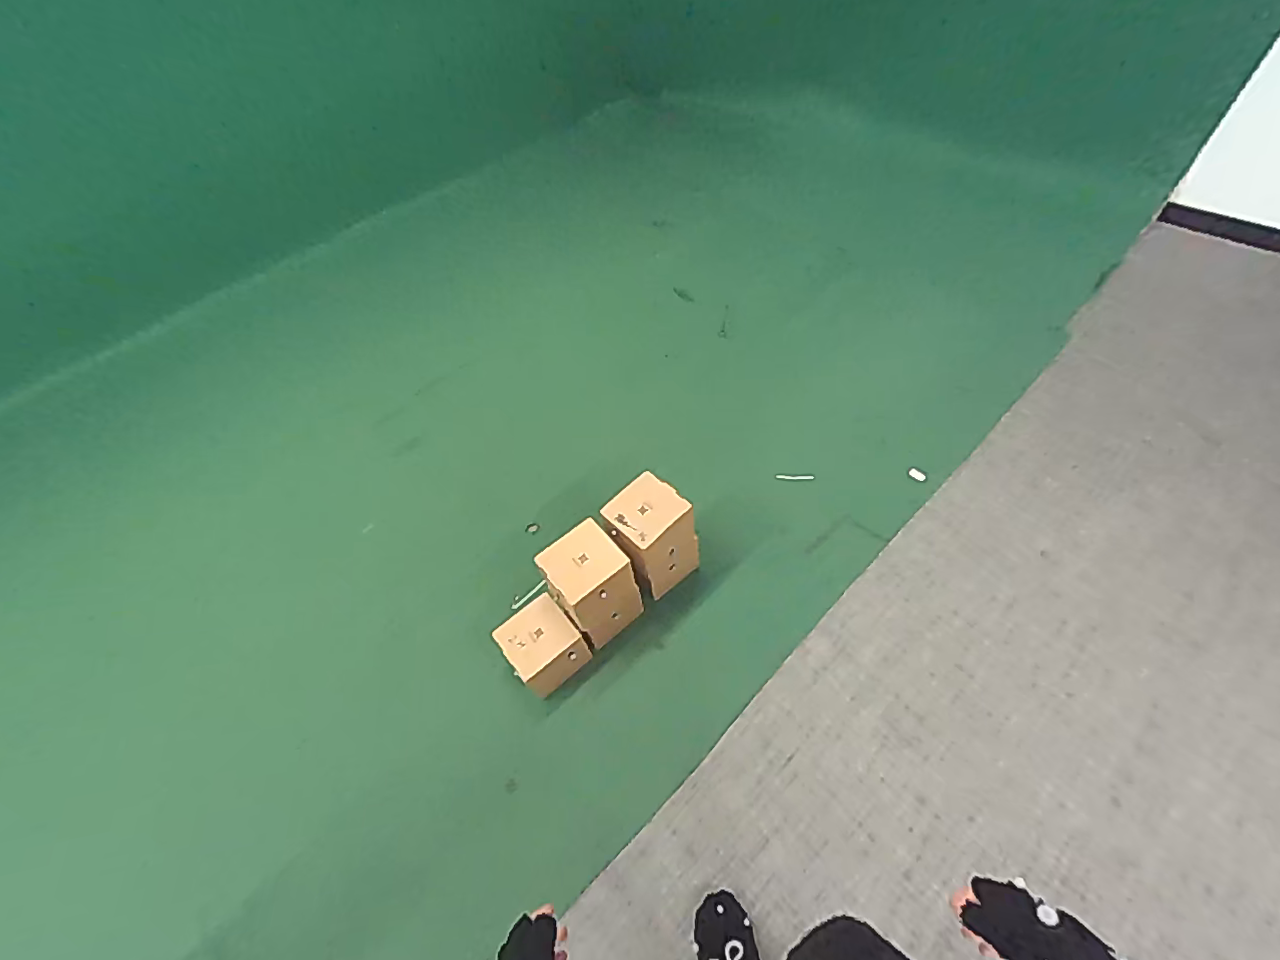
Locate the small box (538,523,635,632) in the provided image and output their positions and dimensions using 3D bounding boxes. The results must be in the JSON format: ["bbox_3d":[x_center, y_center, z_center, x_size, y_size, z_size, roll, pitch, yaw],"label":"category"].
[{"bbox_3d":[-0.126,0.246,1.356,0.179,0.176,0.168,-36,59,-16],"label":"small box"}]

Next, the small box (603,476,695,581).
[{"bbox_3d":[0.027,0.130,1.418,0.179,0.176,0.168,-39,58,-21],"label":"small box"}]
